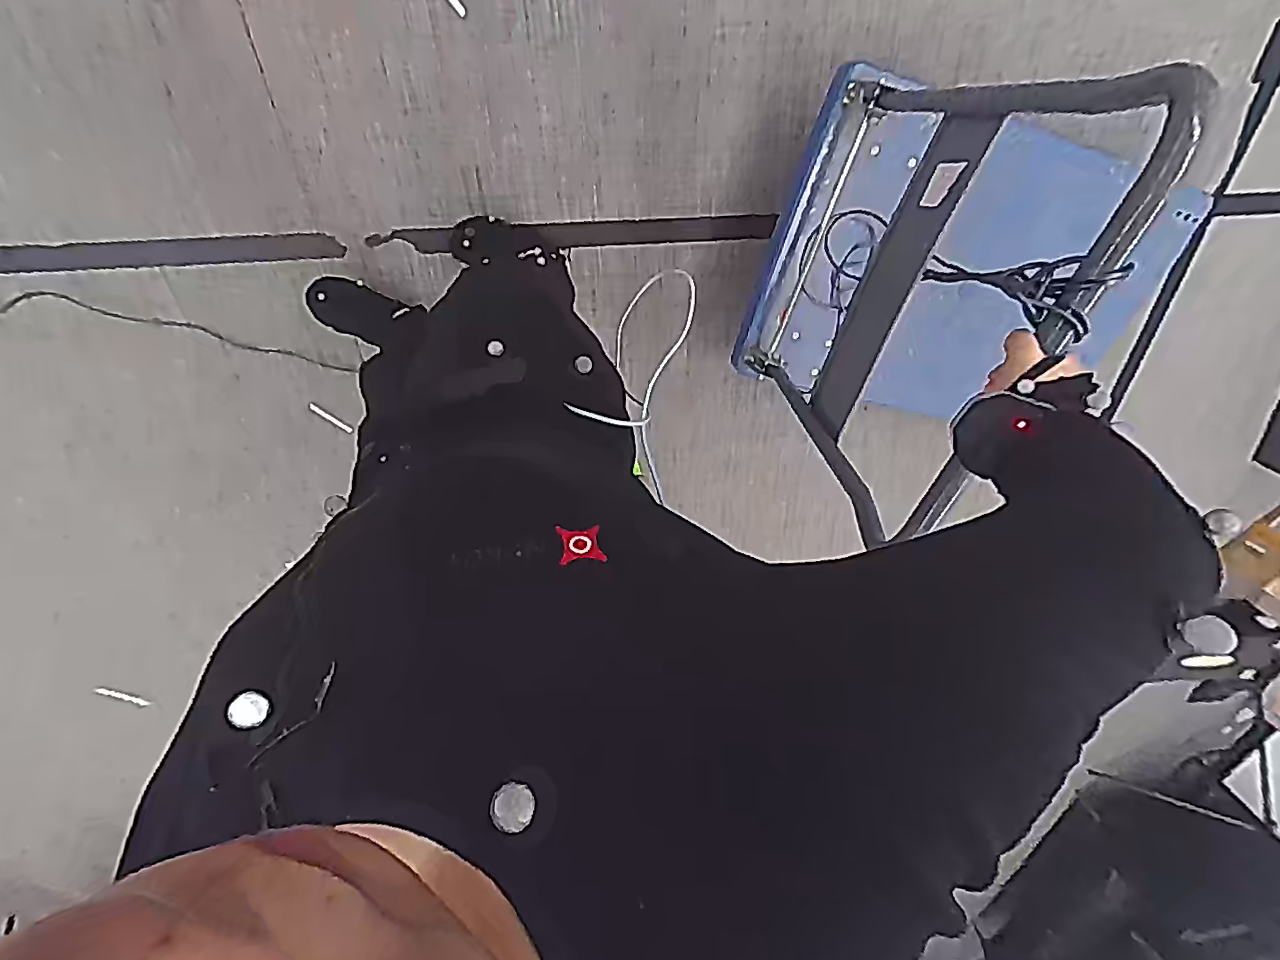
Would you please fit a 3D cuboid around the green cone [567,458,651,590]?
[{"bbox_3d":[-0.065,0.131,1.372,0.202,0.368,0.200,-16,125,4],"label":"green cone"}]
